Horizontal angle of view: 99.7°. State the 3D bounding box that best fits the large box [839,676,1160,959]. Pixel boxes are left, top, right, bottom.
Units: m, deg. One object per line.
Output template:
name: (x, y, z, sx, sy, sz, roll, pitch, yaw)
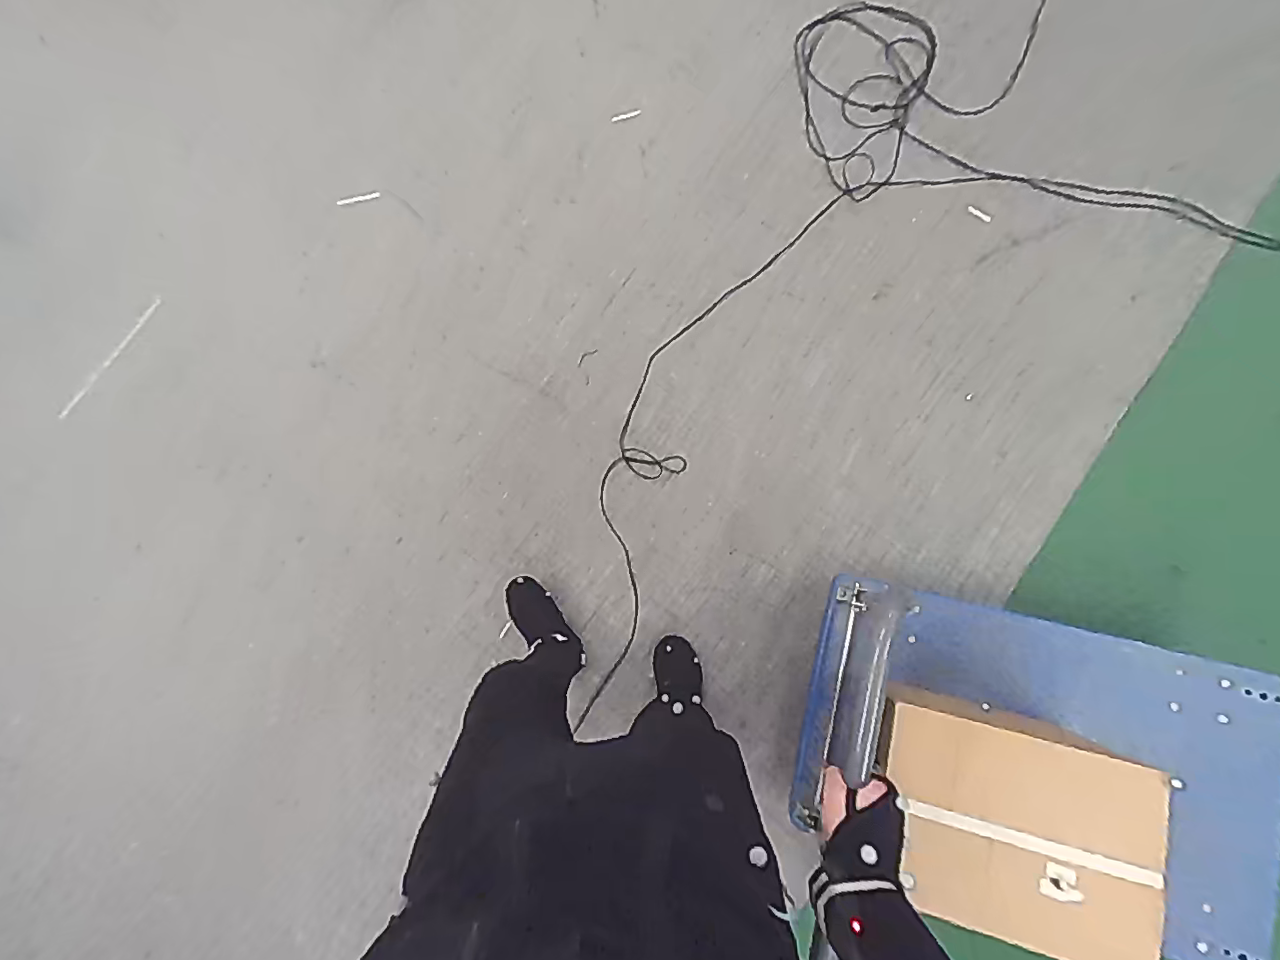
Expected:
large box: (0.625, 0.591, 1.017, 0.408, 0.320, 0.320, 12, 82, 13)
